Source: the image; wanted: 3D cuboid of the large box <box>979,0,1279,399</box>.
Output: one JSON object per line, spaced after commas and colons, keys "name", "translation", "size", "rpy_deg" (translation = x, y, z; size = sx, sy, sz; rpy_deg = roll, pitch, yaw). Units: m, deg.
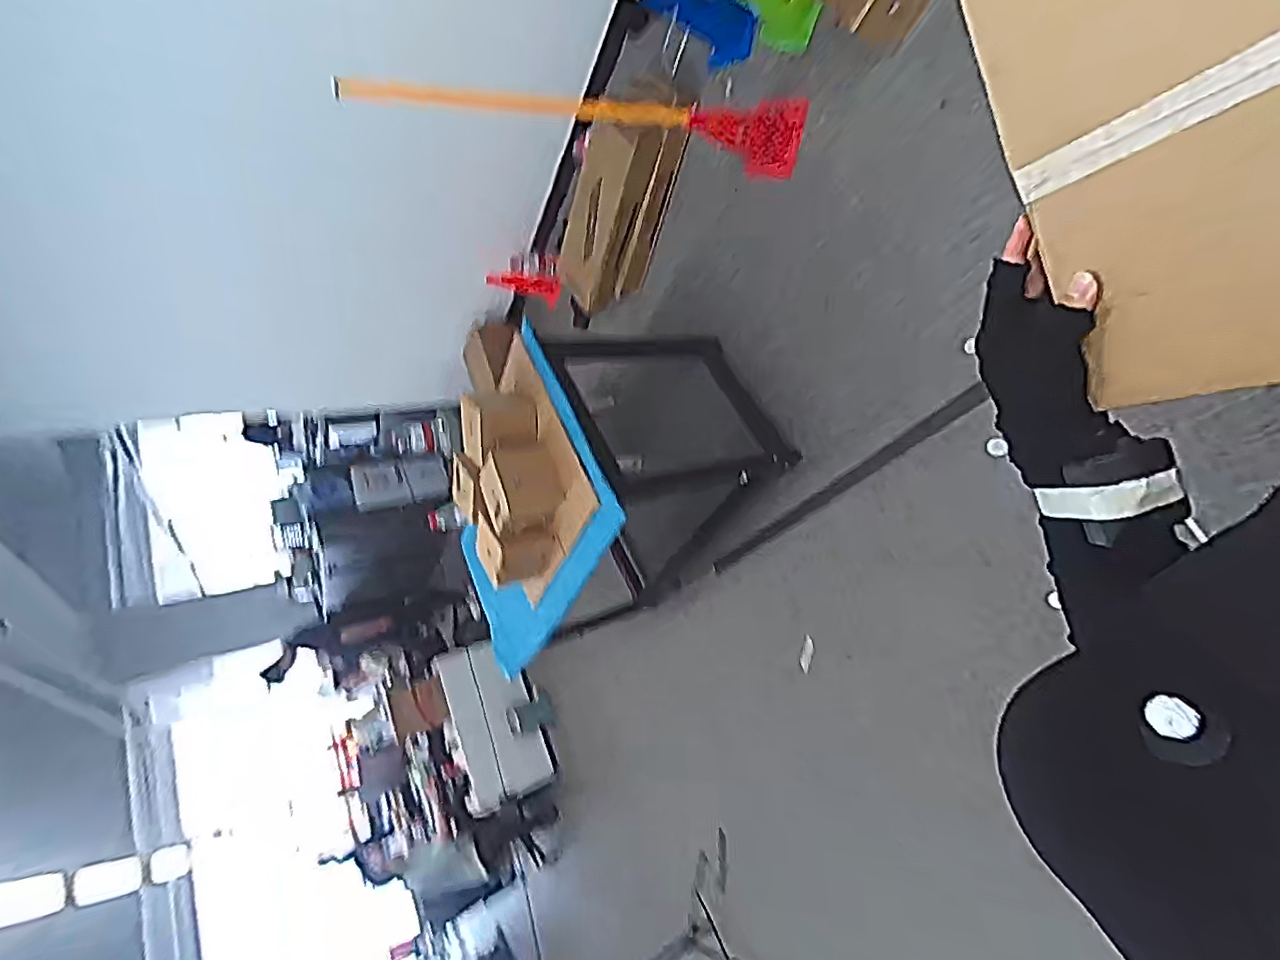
{"name": "large box", "translation": [0.470, -0.270, 0.258], "size": [0.408, 0.320, 0.320], "rpy_deg": [-8, 109, 59]}
